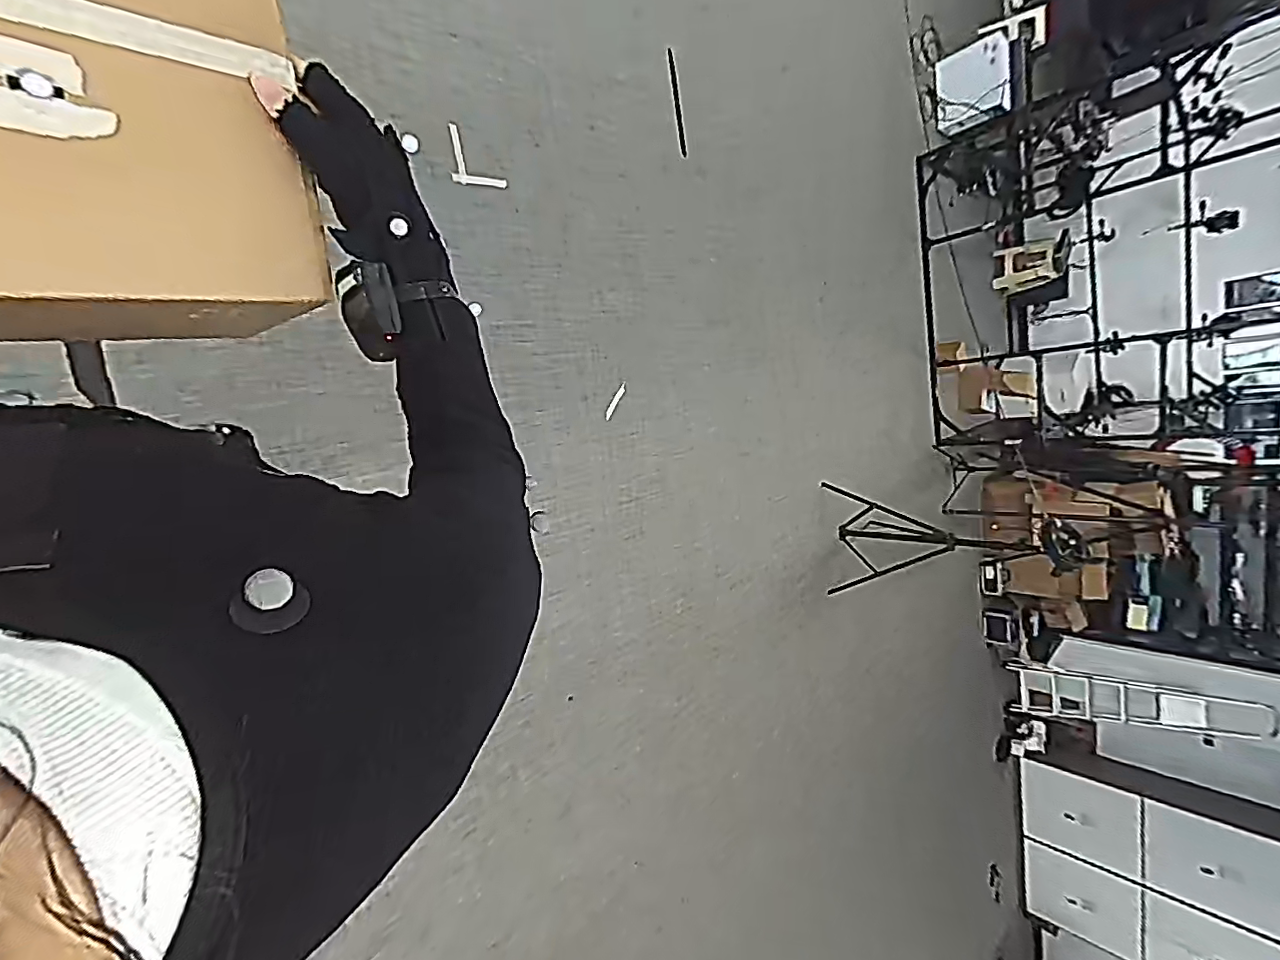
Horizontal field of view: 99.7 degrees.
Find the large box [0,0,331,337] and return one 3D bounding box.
[{"bbox_3d":[-0.507,-0.268,0.371,0.408,0.320,0.320,-18,109,-44],"label":"large box"}]
